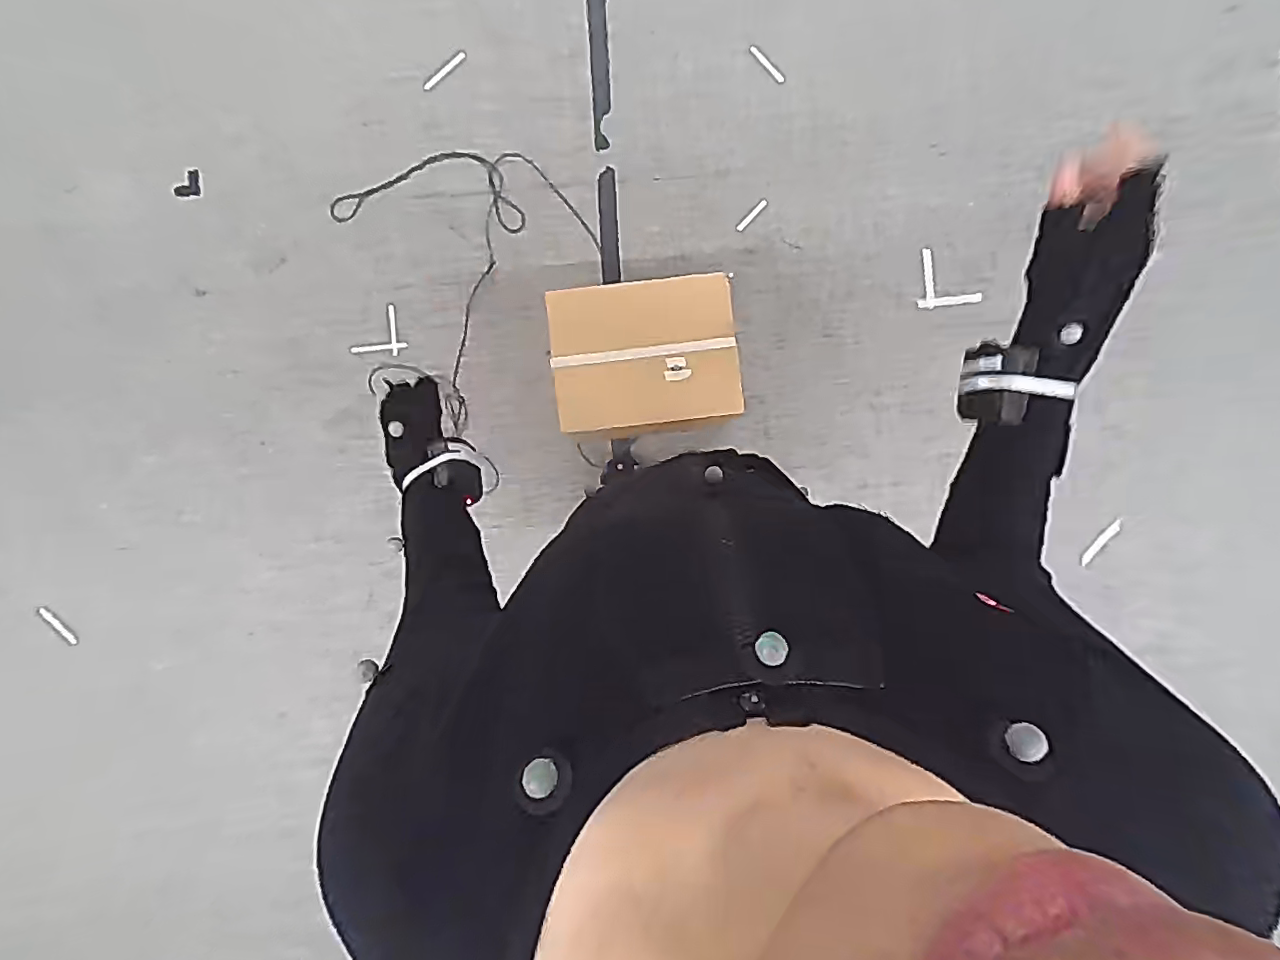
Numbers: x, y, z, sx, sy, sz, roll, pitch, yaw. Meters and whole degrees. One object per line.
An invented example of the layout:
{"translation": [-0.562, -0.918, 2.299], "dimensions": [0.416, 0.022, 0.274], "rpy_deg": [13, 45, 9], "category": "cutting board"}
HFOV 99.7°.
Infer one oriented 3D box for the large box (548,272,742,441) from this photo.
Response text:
{"translation": [0.010, -0.282, 1.339], "dimensions": [0.408, 0.320, 0.320], "rpy_deg": [-7, 90, 0], "category": "large box"}
